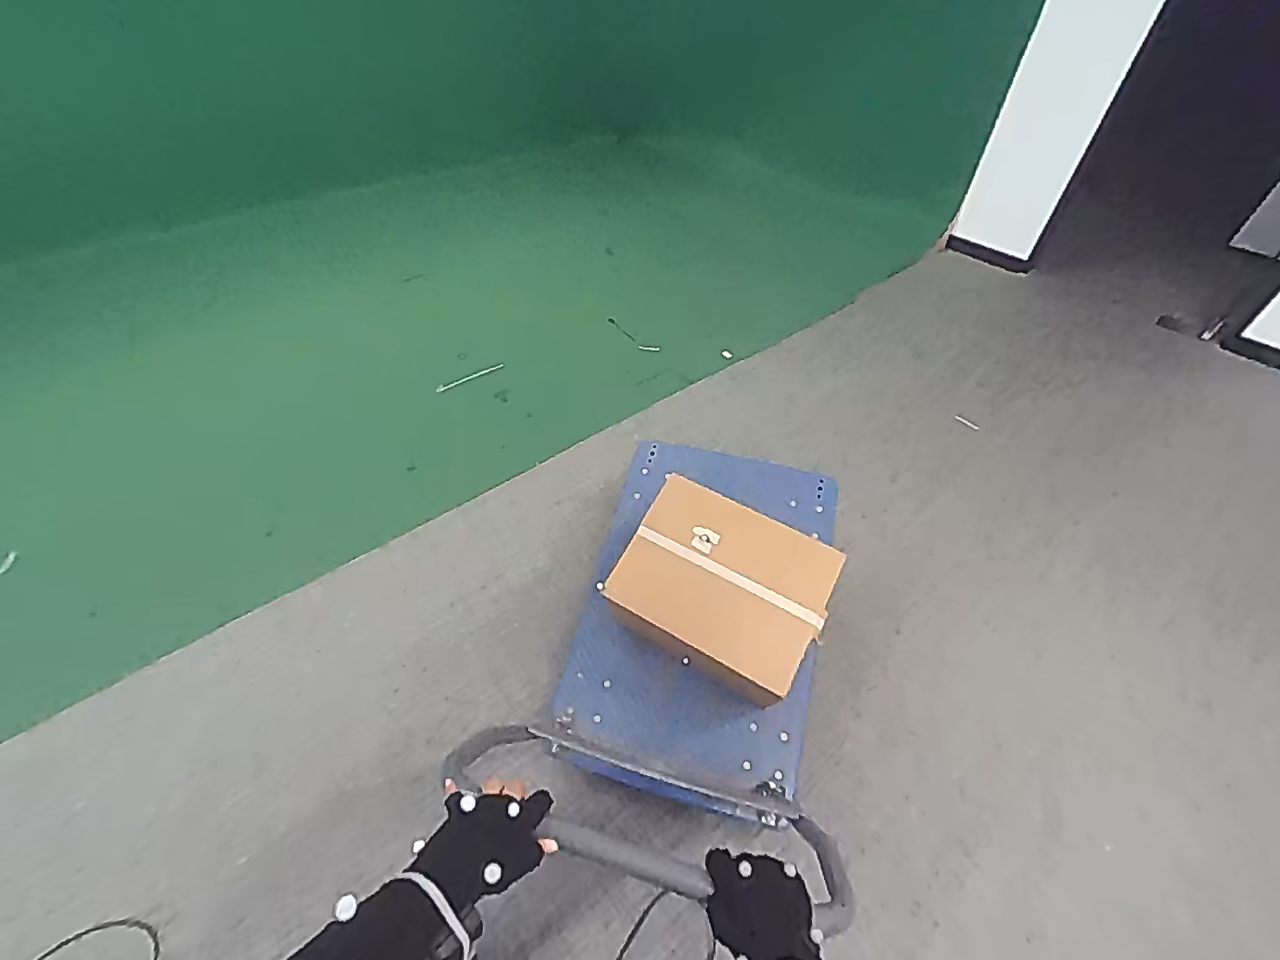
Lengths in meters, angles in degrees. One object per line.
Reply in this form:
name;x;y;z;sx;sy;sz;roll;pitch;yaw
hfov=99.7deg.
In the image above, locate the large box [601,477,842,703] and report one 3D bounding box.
large box;0.182;0.258;1.226;0.408;0.320;0.320;26;69;18
